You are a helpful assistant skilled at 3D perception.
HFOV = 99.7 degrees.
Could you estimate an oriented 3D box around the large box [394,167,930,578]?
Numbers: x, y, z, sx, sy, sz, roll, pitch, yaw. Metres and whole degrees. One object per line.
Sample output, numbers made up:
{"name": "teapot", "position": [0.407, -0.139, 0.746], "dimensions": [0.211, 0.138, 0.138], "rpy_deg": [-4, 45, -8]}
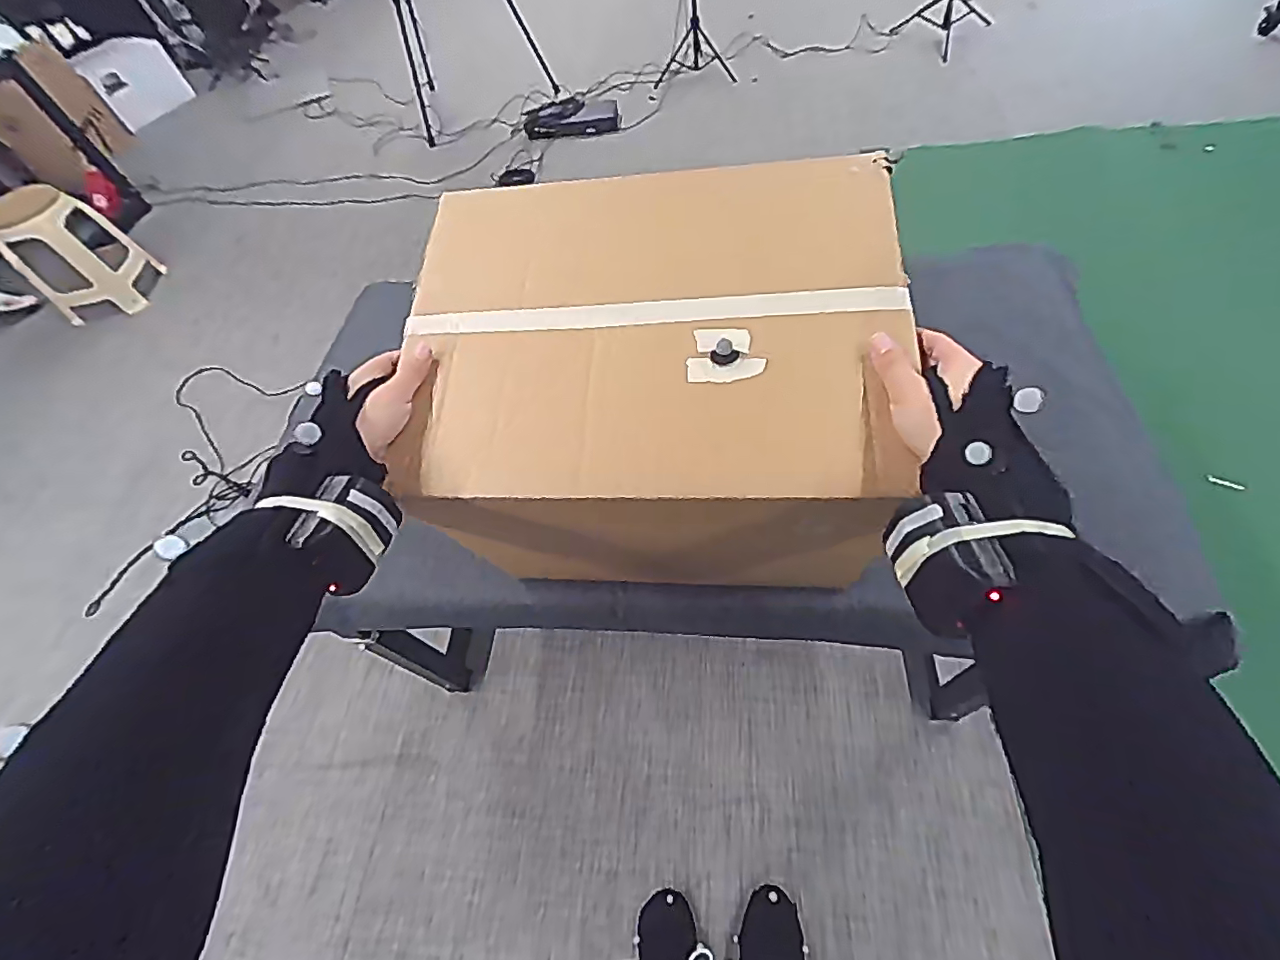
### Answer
{"name": "large box", "position": [0.026, -0.077, 0.585], "dimensions": [0.408, 0.320, 0.320], "rpy_deg": [0, 69, 8]}
